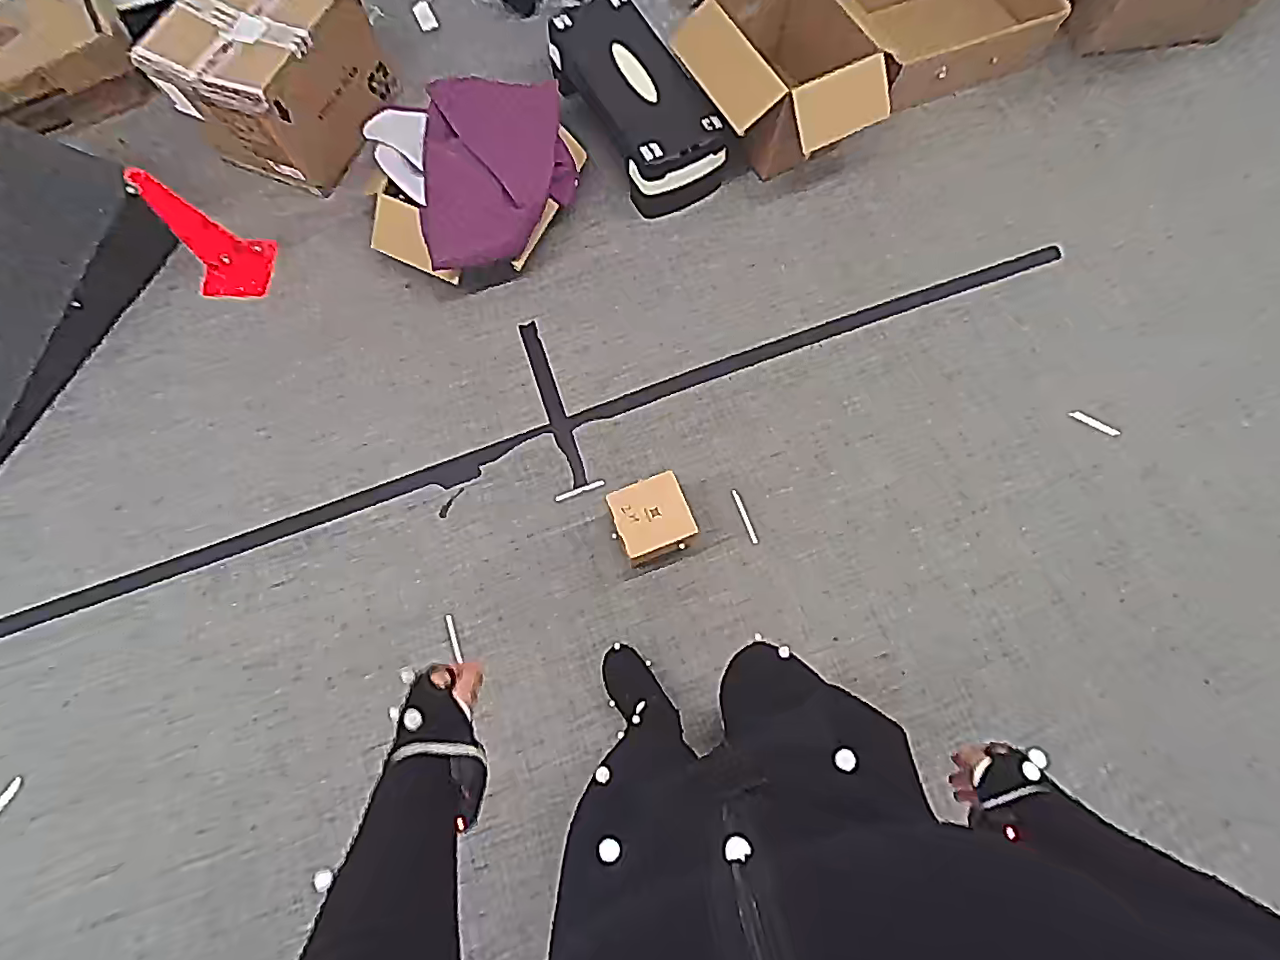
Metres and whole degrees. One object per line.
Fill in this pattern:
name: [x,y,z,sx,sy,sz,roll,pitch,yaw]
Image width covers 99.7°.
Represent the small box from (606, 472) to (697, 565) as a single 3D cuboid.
small box: [0.025,0.101,1.345,0.179,0.176,0.168,-20,76,-6]
